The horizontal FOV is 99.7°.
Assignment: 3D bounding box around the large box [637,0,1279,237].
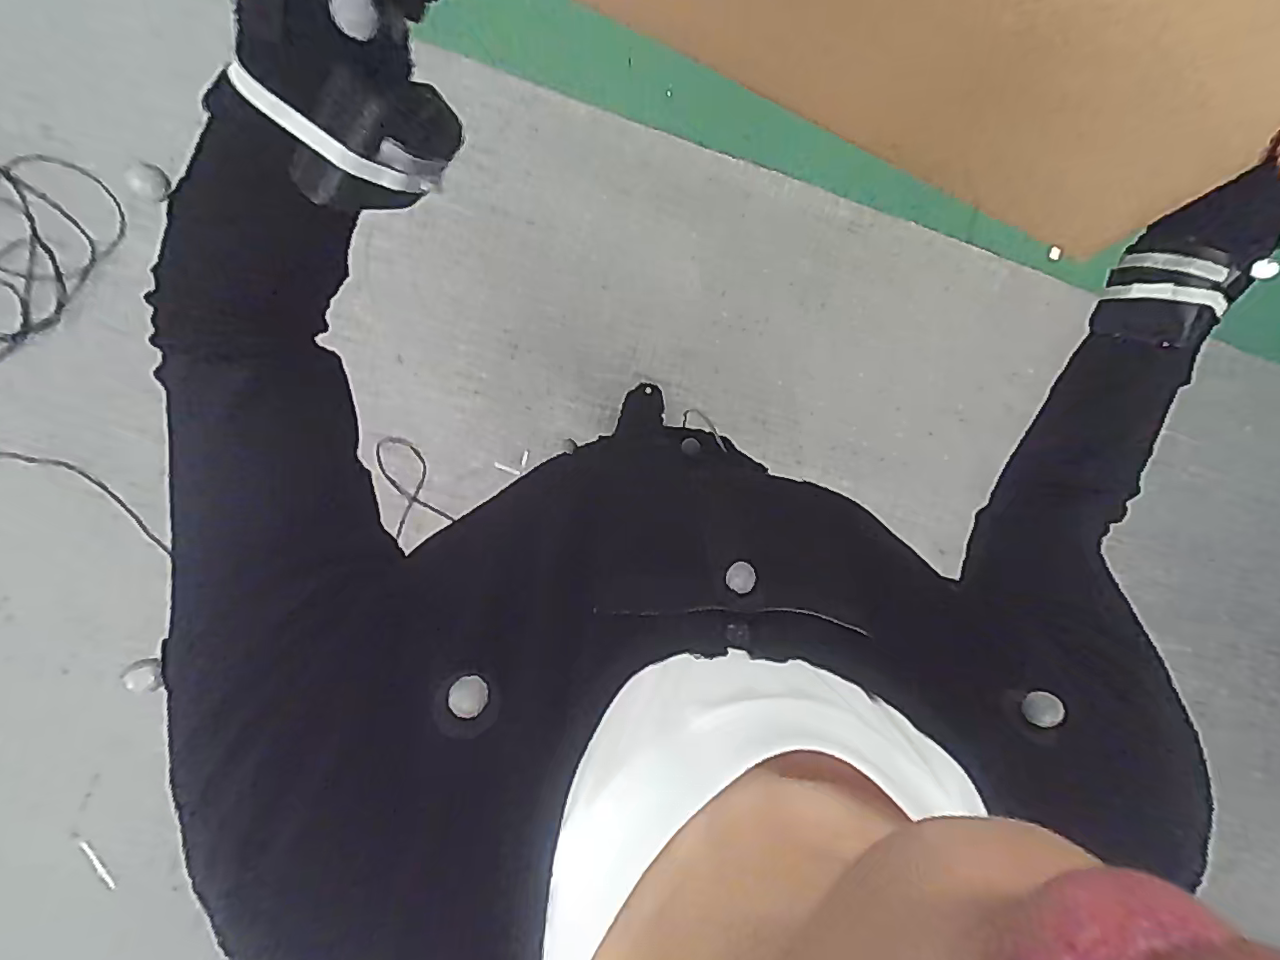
[{"bbox_3d":[0.200,-0.373,0.222,0.408,0.320,0.320,7,72,-27],"label":"large box"}]
